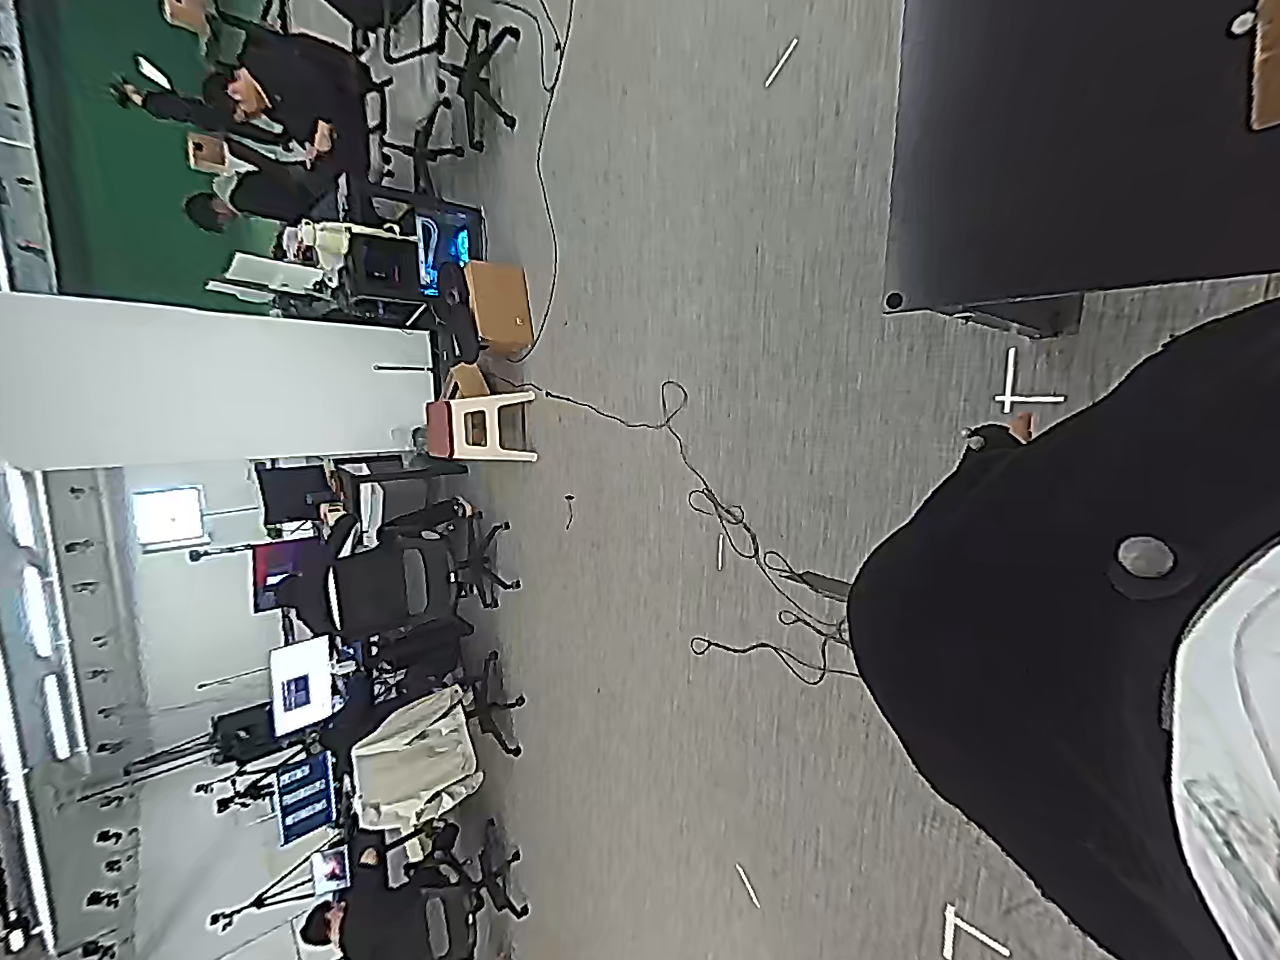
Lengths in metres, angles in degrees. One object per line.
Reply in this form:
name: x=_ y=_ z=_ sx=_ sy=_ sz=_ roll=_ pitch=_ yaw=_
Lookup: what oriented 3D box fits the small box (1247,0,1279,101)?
small box: x=0.579 y=-0.416 z=0.396 sx=0.168 sy=0.176 sz=0.179 roll=5 pitch=99 yaw=49
